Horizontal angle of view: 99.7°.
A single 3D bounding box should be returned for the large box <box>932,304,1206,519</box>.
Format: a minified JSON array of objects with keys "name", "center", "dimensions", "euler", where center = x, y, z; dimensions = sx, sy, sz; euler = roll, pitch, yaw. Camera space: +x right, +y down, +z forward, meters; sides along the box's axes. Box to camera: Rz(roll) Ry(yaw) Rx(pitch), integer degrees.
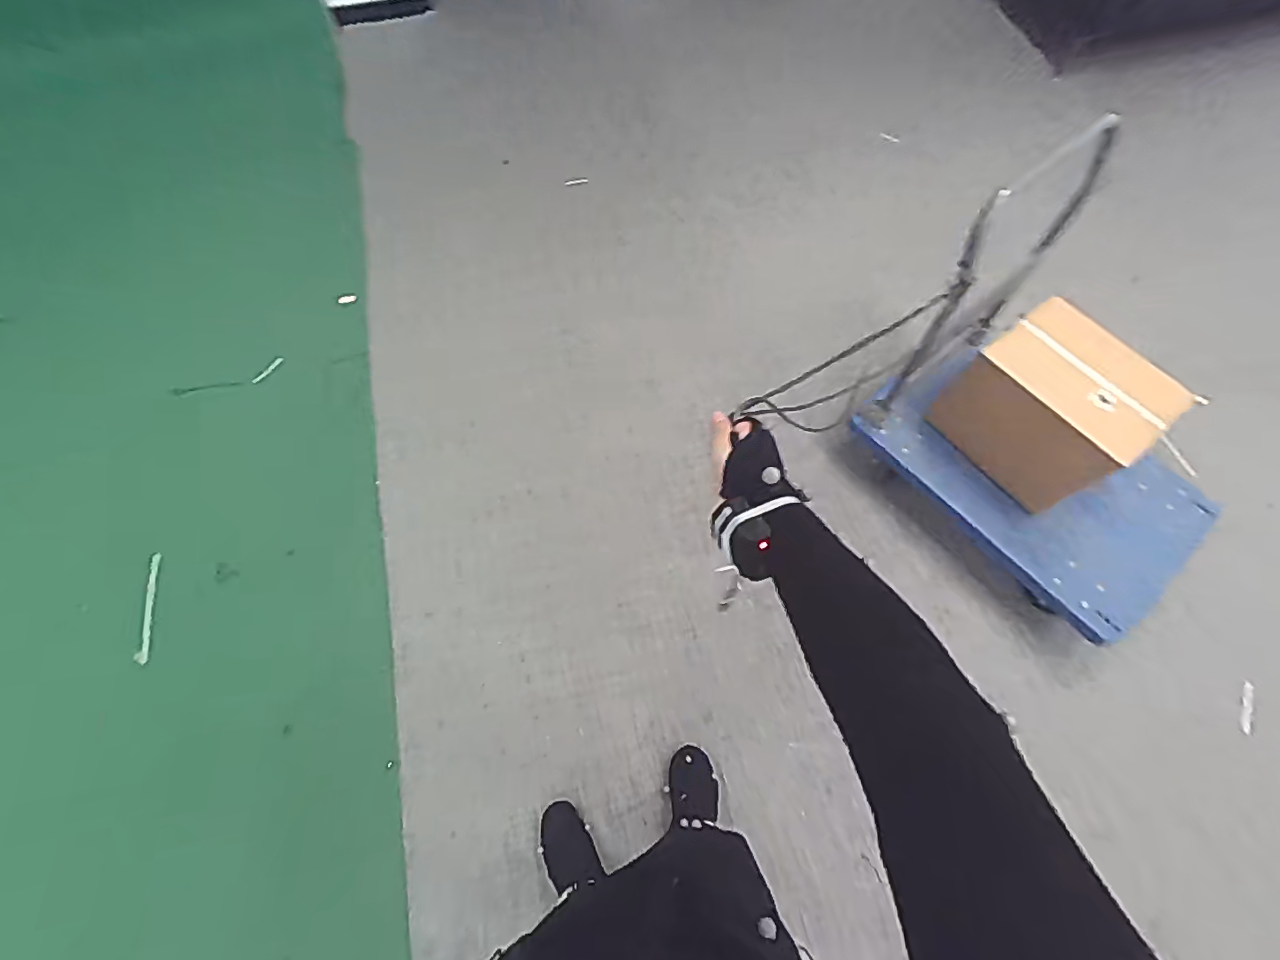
[{"name":"large box","center":[1.091,-0.175,1.431],"dimensions":[0.320,0.320,0.408],"euler":[-34,71,-14]}]
